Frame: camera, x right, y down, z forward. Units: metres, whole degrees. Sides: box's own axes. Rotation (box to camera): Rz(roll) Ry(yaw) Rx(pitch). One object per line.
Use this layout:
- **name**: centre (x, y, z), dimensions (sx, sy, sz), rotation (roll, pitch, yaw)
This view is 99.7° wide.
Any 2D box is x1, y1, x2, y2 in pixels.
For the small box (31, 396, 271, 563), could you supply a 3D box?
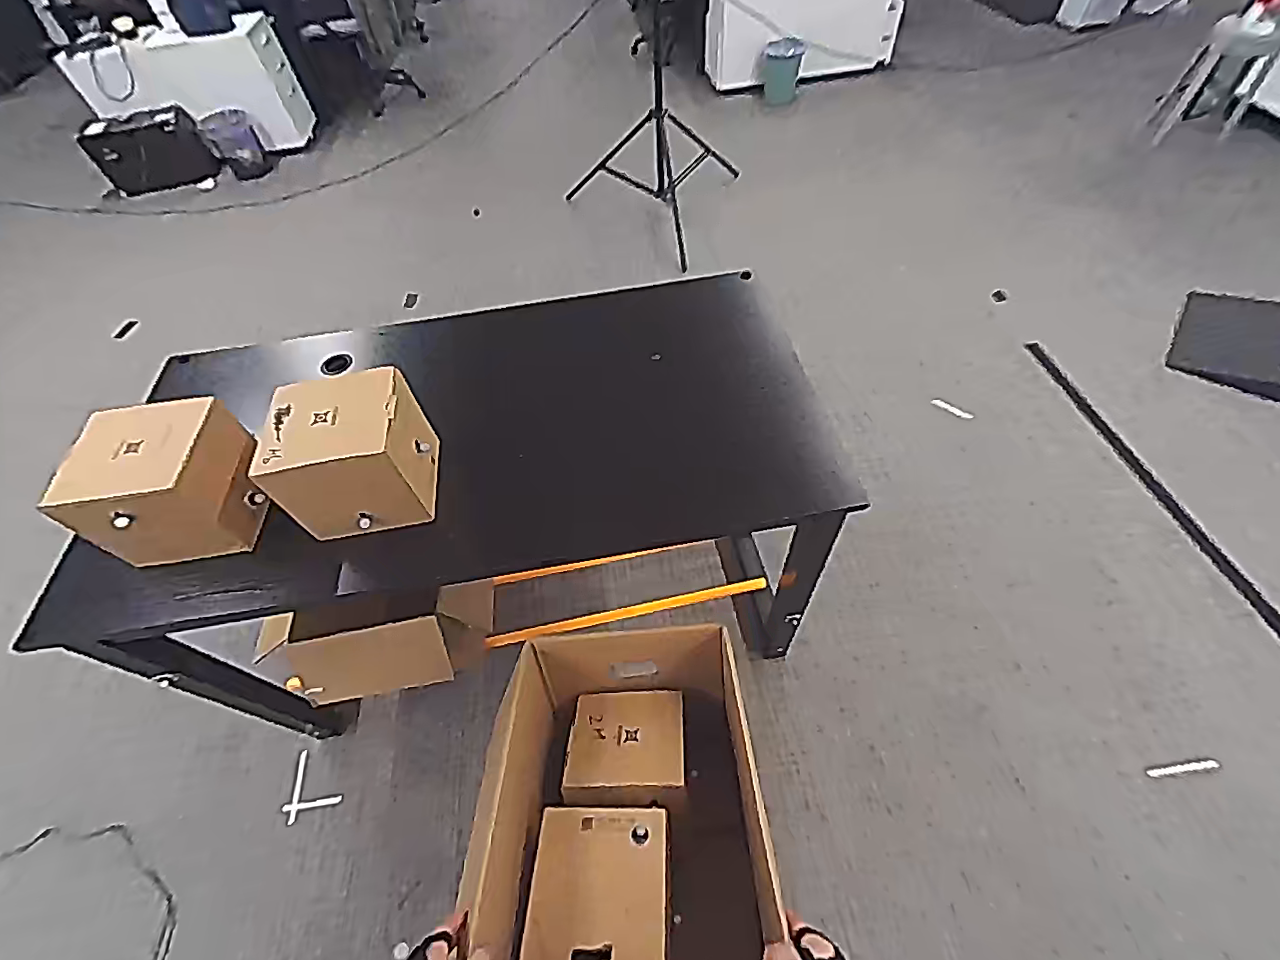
- **small box**: centre (-0.672, 0.006, 0.778), dimensions (0.179, 0.176, 0.168), rotation (-8, 55, -3)

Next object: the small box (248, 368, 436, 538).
- **small box**: centre (-0.412, -0.035, 0.786), dimensions (0.179, 0.176, 0.168), rotation (-10, 54, -3)
